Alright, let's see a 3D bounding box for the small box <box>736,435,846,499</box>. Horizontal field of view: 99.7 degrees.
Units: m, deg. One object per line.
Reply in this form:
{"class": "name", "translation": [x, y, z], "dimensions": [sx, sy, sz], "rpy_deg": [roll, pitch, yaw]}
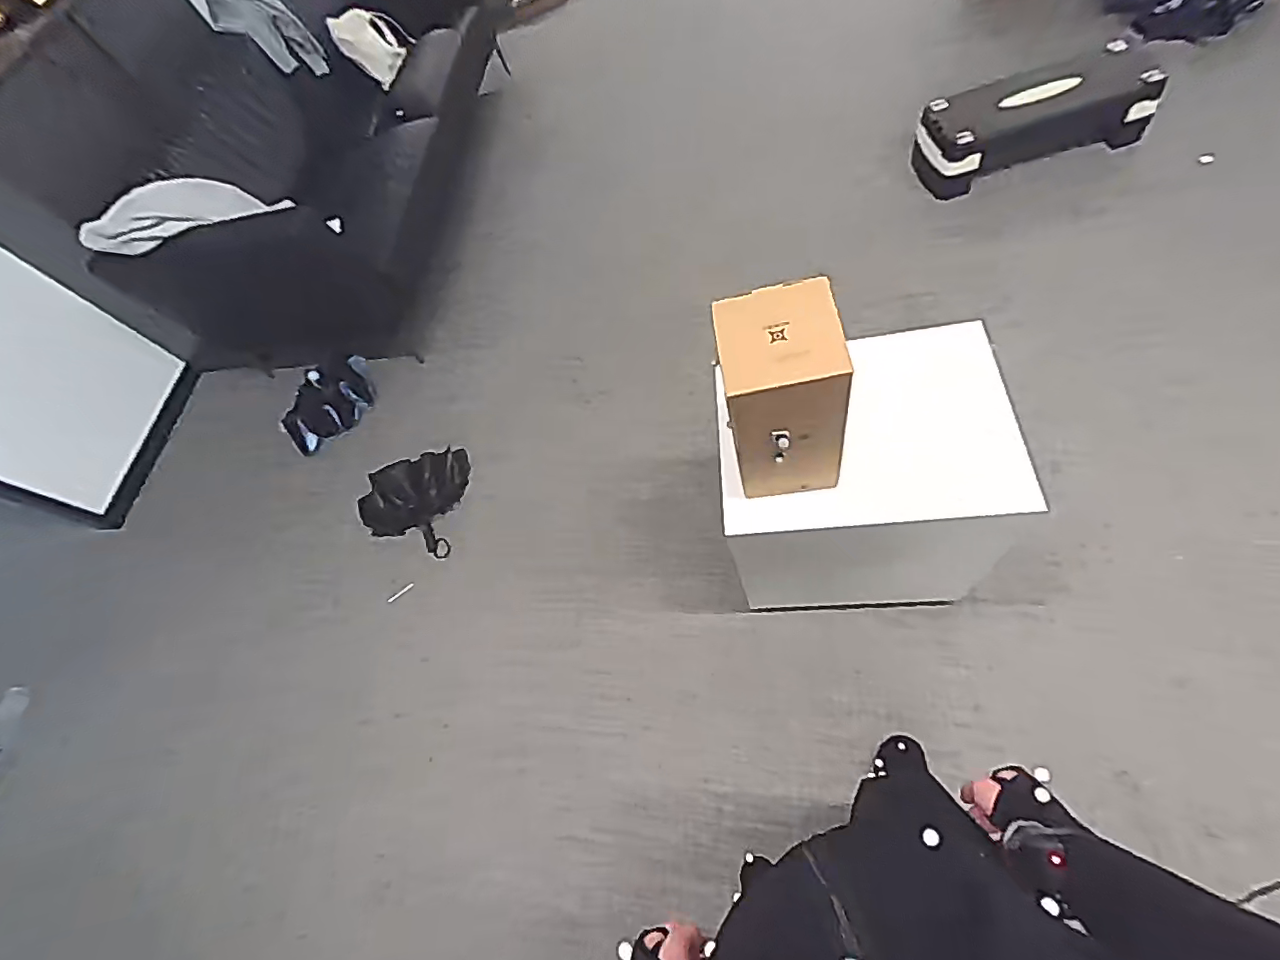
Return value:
{"class": "small box", "translation": [0.253, -0.086, 0.941], "dimensions": [0.168, 0.176, 0.179], "rpy_deg": [-8, 61, 13]}

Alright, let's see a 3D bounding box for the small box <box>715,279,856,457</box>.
{"class": "small box", "translation": [0.210, -0.158, 0.801], "dimensions": [0.168, 0.176, 0.179], "rpy_deg": [-10, 62, 13]}
